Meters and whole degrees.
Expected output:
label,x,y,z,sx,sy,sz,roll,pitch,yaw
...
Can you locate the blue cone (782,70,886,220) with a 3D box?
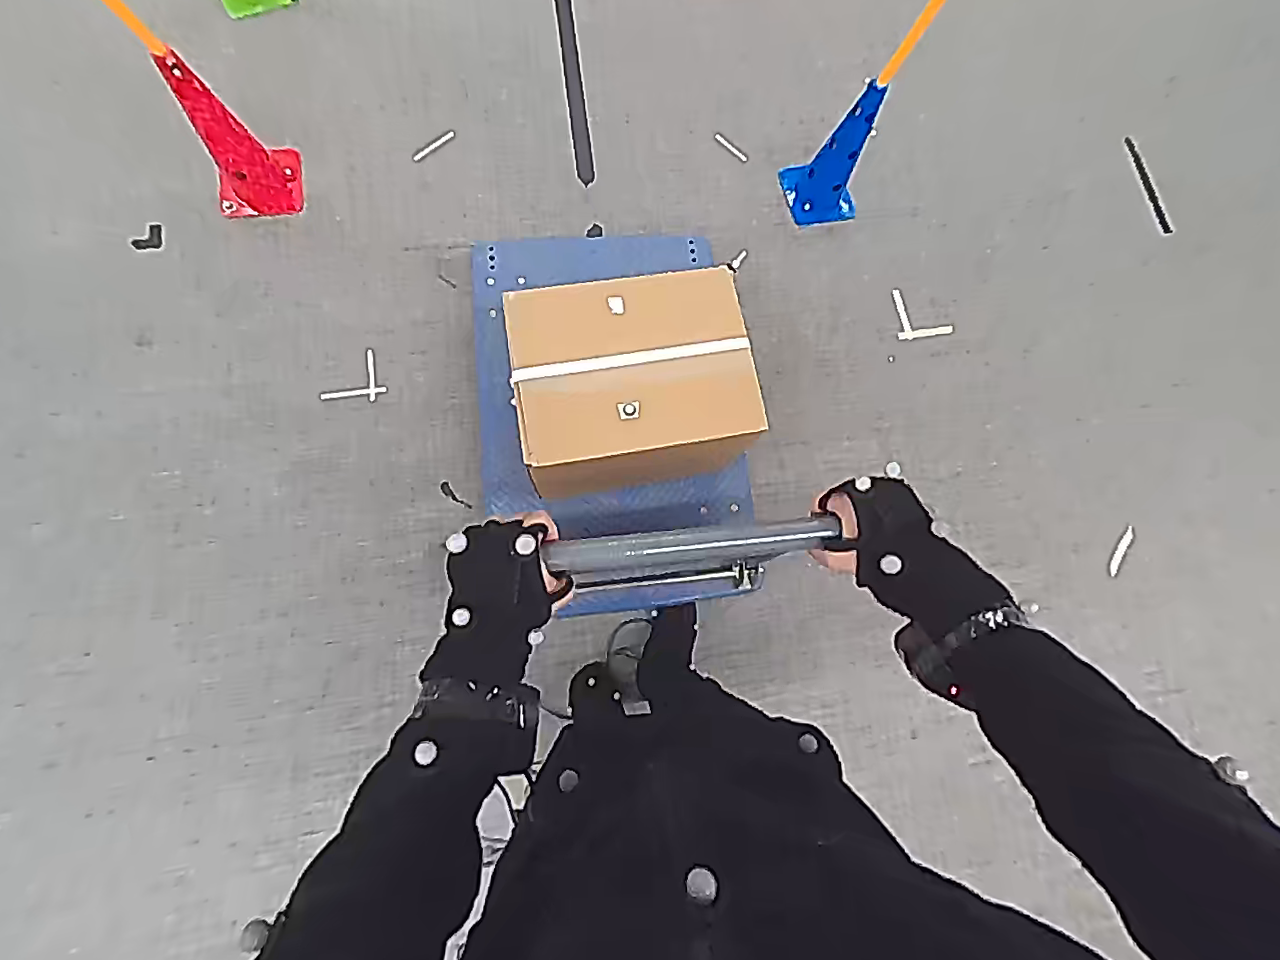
label,x,y,z,sx,sy,sz,roll,pitch,yaw
blue cone,0.550,-0.902,1.455,0.193,0.380,0.192,-11,78,-9
